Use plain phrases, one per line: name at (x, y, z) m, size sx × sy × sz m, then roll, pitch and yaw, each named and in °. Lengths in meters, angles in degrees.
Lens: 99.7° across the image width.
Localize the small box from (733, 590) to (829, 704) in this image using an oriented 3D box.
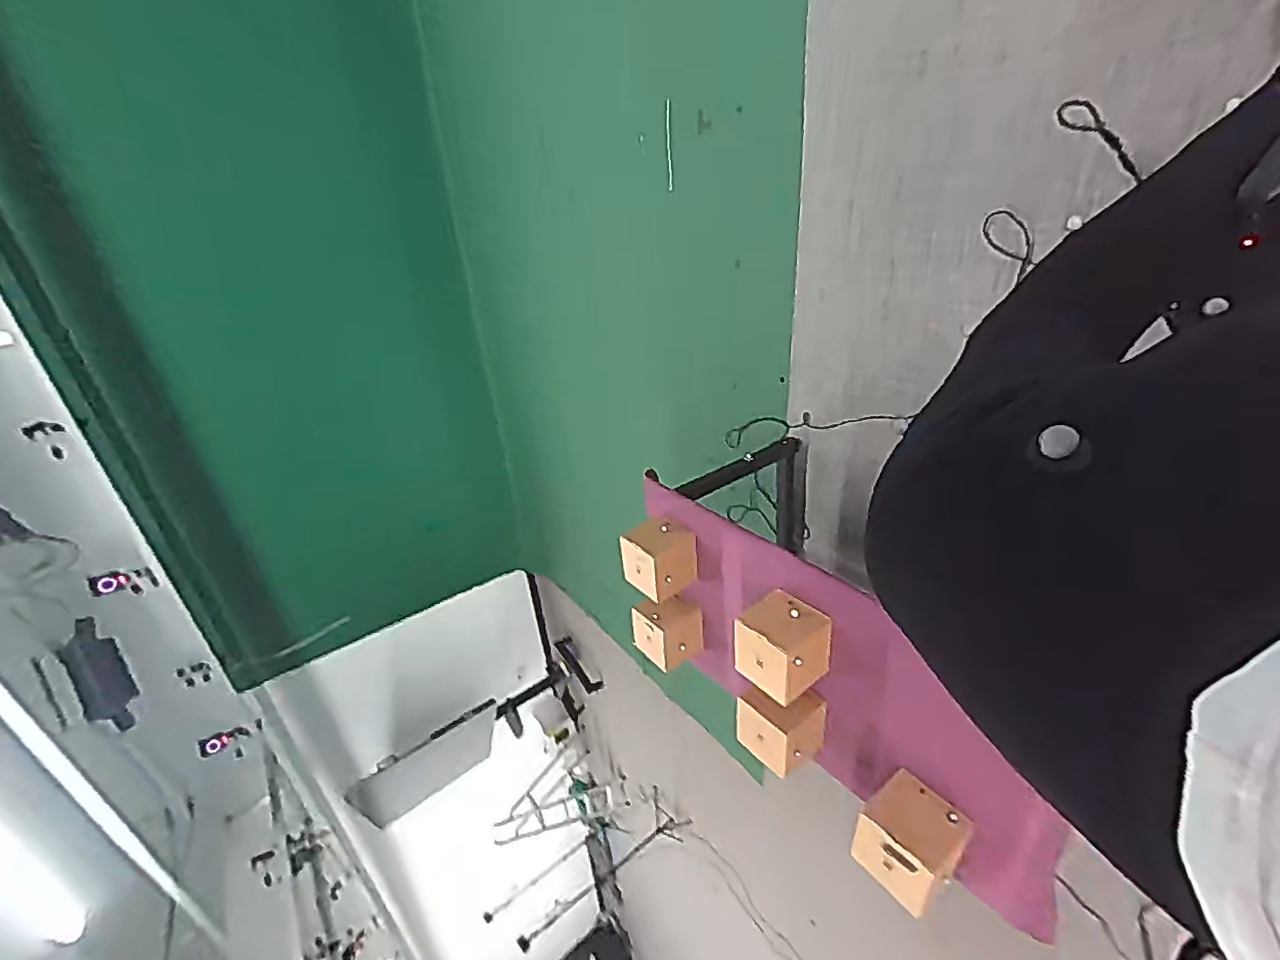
small box at (0.351, 0.409, 1.348) m, size 0.168 × 0.176 × 0.179 m, roll 28°, pitch 131°, yaw 48°

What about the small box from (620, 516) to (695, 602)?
small box at (0.058, 0.239, 1.685) m, size 0.168 × 0.176 × 0.179 m, roll 28°, pitch 132°, yaw 45°

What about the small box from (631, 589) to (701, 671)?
small box at (0.090, 0.489, 1.801) m, size 0.168 × 0.176 × 0.179 m, roll 26°, pitch 130°, yaw 47°

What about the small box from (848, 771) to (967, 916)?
small box at (0.596, 0.800, 1.207) m, size 0.168 × 0.176 × 0.179 m, roll 31°, pitch 133°, yaw 46°

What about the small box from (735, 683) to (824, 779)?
small box at (0.377, 0.650, 1.462) m, size 0.168 × 0.176 × 0.179 m, roll 28°, pitch 130°, yaw 46°
